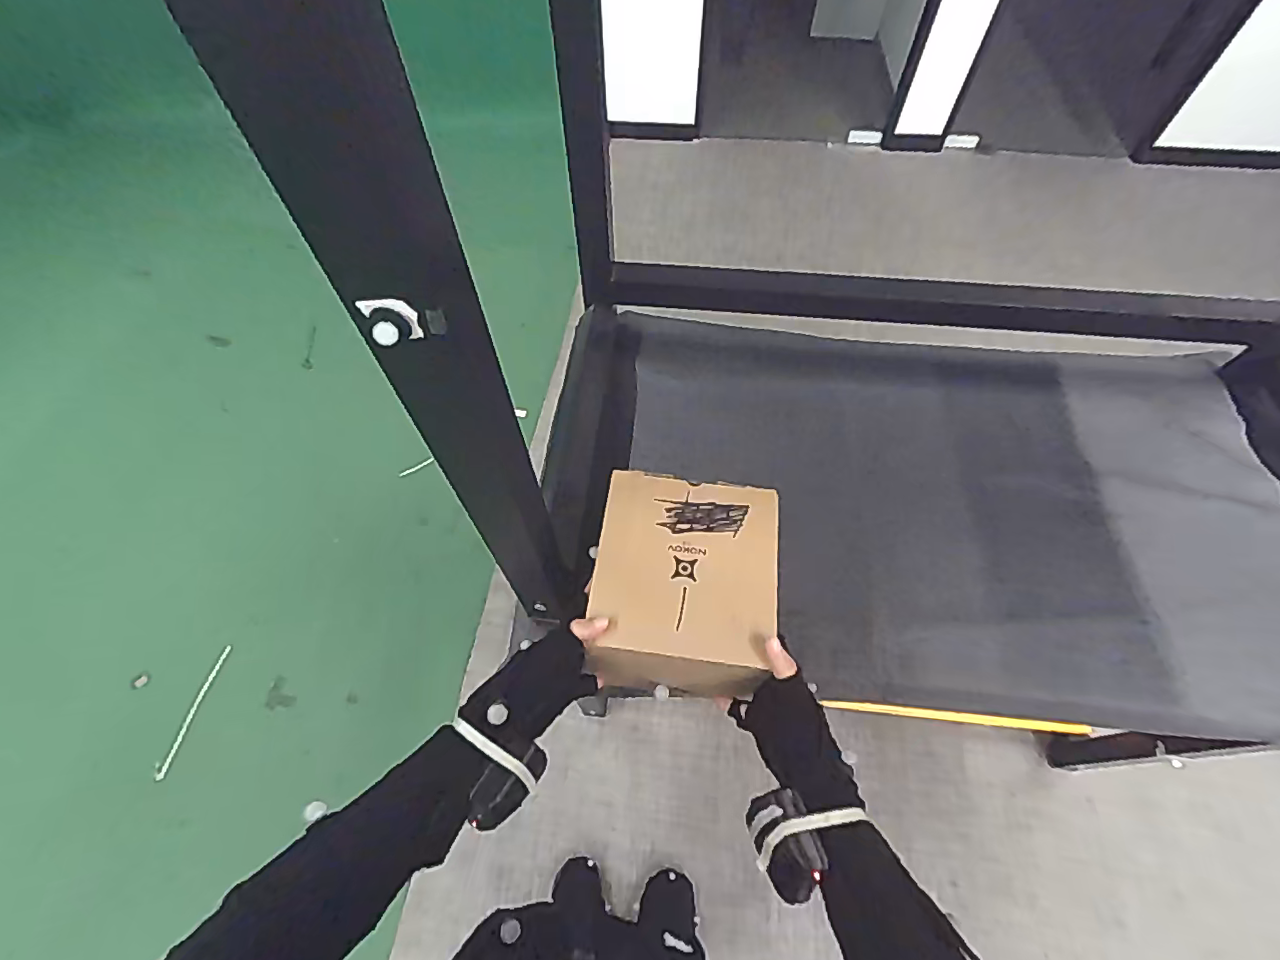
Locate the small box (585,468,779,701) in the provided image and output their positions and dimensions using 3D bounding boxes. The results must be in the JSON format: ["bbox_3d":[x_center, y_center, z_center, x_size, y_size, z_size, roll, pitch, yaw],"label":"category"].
[{"bbox_3d":[0.042,0.113,0.561,0.168,0.176,0.179,7,59,3],"label":"small box"}]
